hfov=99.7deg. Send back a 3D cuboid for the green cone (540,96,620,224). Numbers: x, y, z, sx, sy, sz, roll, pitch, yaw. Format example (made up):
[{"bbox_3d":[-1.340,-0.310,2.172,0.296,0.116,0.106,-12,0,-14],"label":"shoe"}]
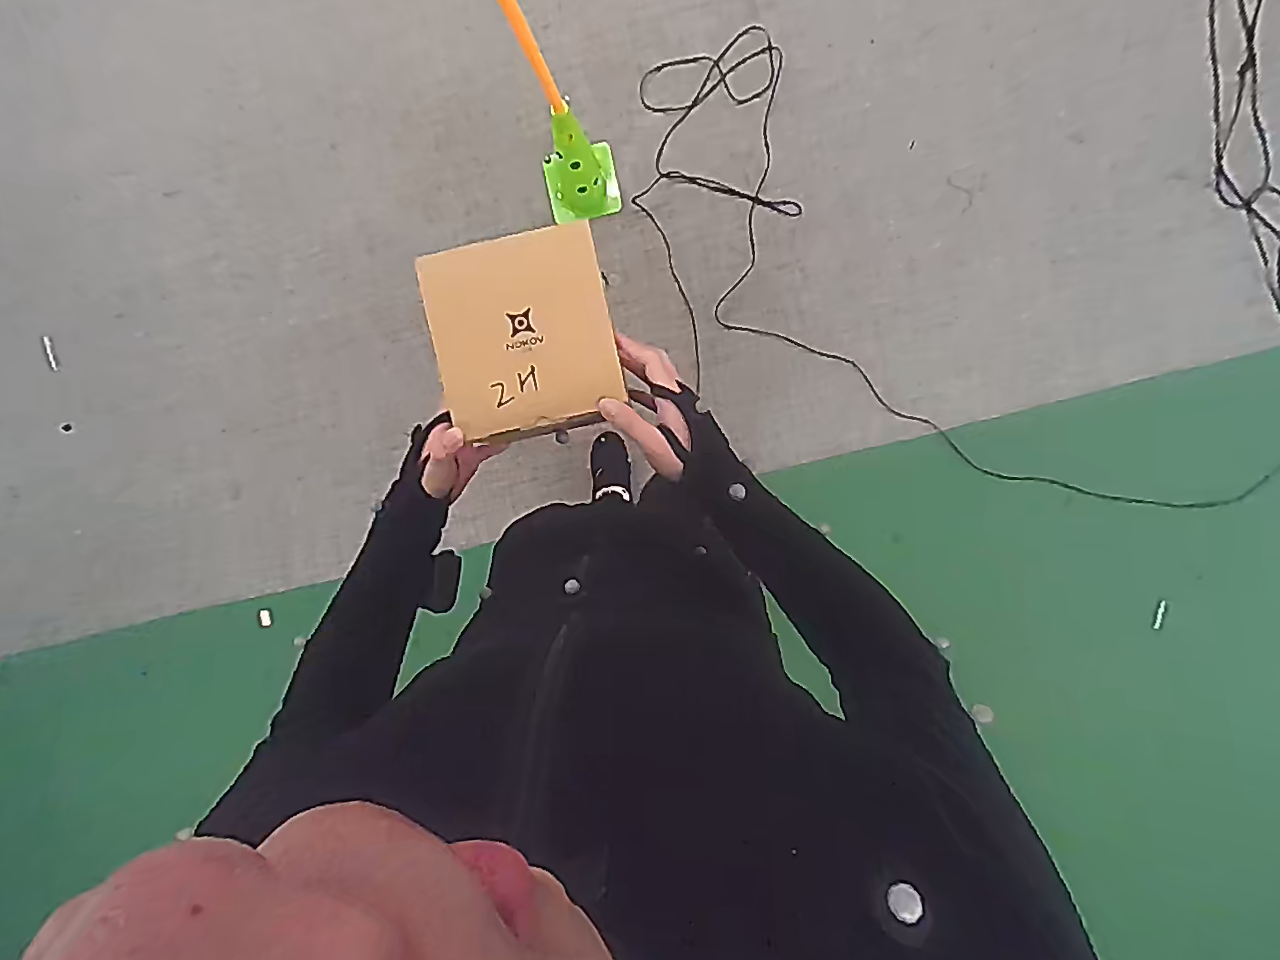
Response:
[{"bbox_3d":[-0.173,-0.827,1.360,0.202,0.368,0.200,-13,94,2],"label":"green cone"}]
